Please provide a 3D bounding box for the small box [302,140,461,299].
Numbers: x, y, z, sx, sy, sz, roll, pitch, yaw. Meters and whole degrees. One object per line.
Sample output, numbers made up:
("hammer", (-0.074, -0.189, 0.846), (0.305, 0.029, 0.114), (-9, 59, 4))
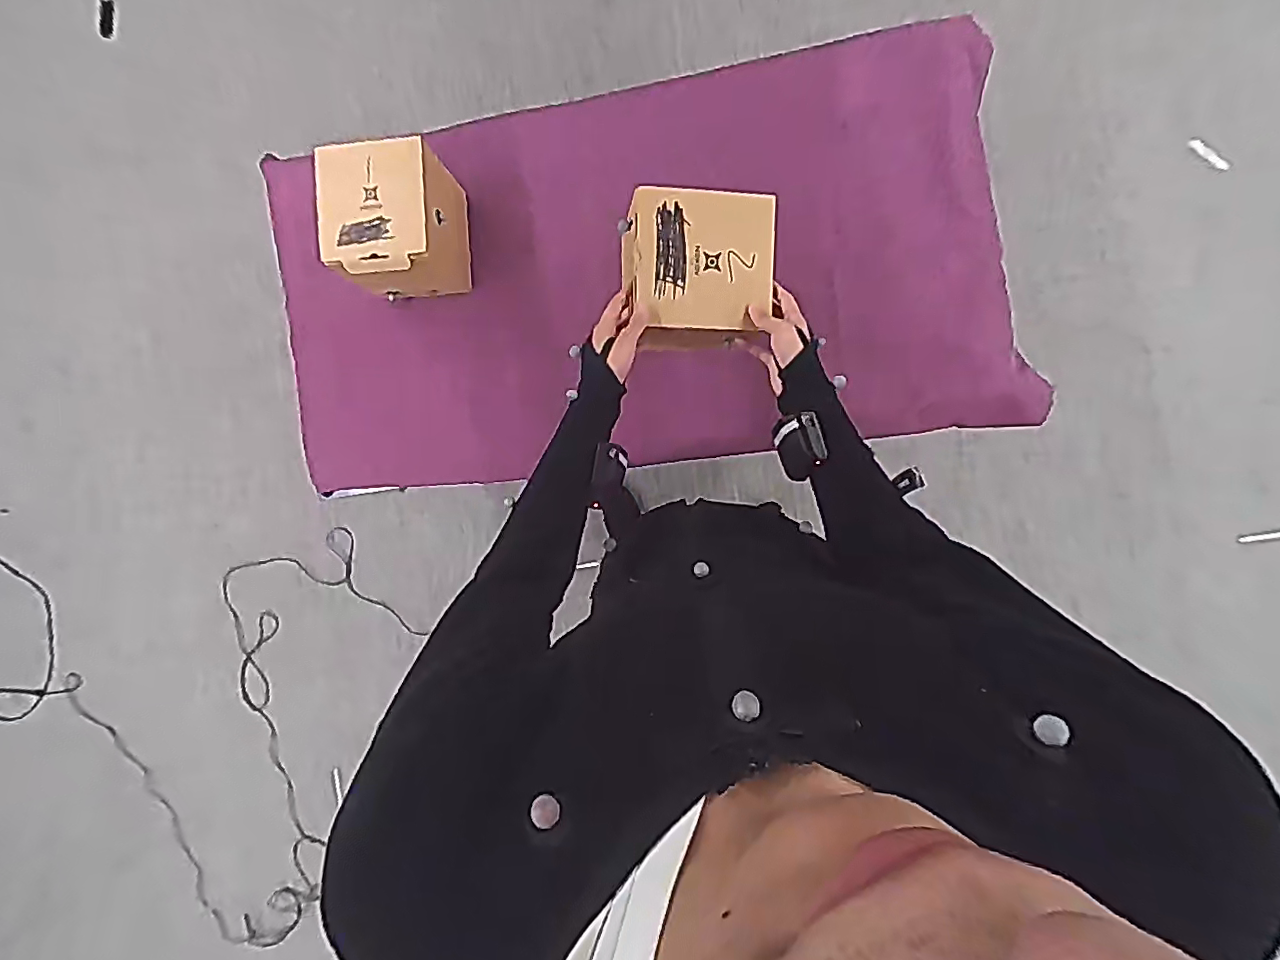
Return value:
("small box", (-0.394, -0.395, 0.853), (0.168, 0.176, 0.179), (-4, 92, 4))
